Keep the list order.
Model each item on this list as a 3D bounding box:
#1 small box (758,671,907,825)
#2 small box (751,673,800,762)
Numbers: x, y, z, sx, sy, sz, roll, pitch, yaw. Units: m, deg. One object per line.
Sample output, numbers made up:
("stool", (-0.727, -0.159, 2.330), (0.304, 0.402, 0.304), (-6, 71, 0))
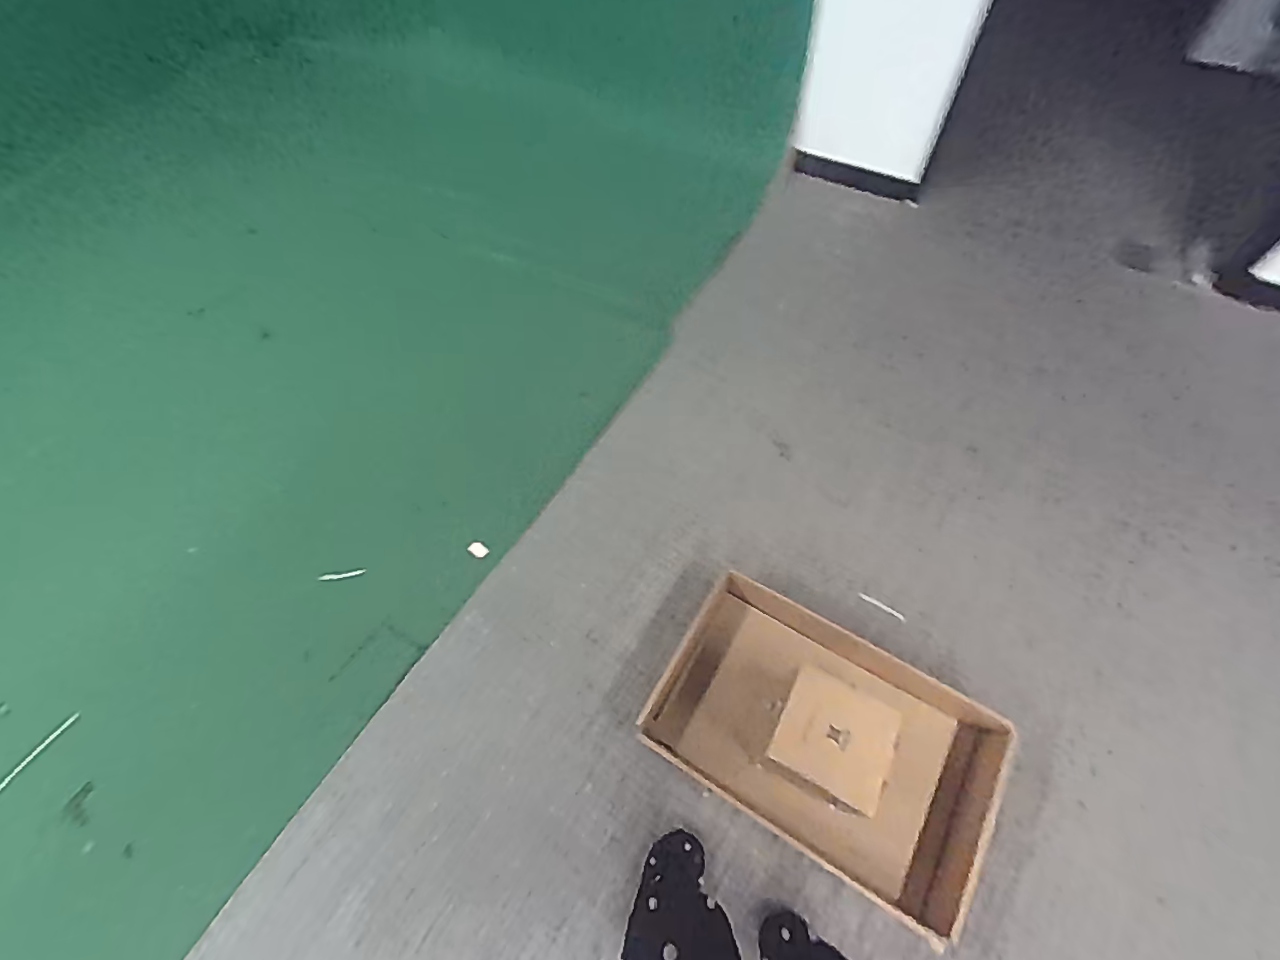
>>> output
("small box", (0.318, 0.451, 0.920), (0.179, 0.176, 0.168), (22, 65, 15))
("small box", (0.334, 0.520, 1.085), (0.168, 0.176, 0.179), (27, 67, 18))
